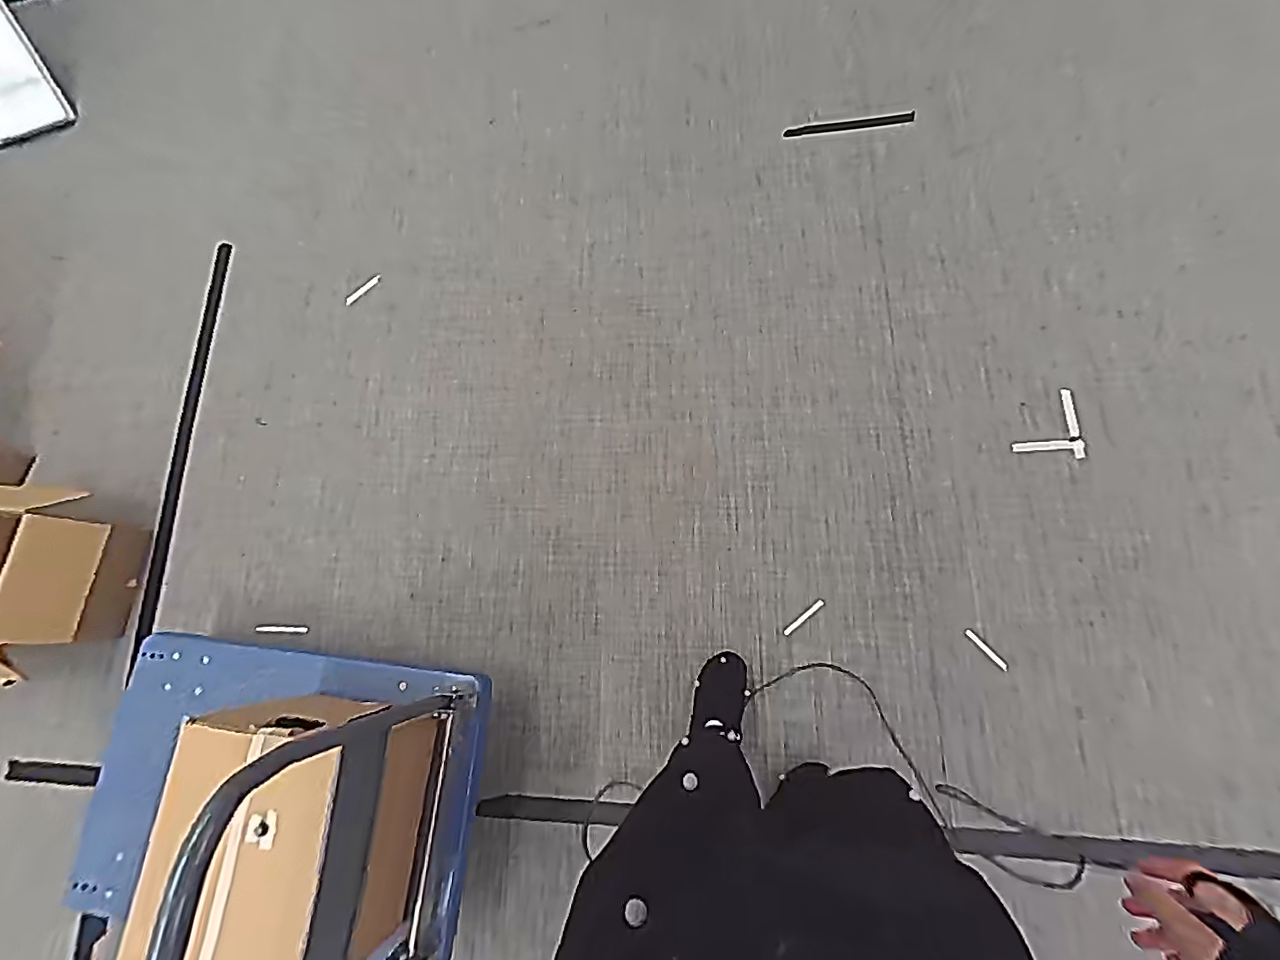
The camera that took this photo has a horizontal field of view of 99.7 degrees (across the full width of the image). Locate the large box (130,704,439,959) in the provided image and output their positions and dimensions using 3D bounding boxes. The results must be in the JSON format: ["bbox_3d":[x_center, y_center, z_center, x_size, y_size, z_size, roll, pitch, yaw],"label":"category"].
[{"bbox_3d":[-0.614,0.662,0.997,0.320,0.320,0.408,4,75,8],"label":"large box"}]
